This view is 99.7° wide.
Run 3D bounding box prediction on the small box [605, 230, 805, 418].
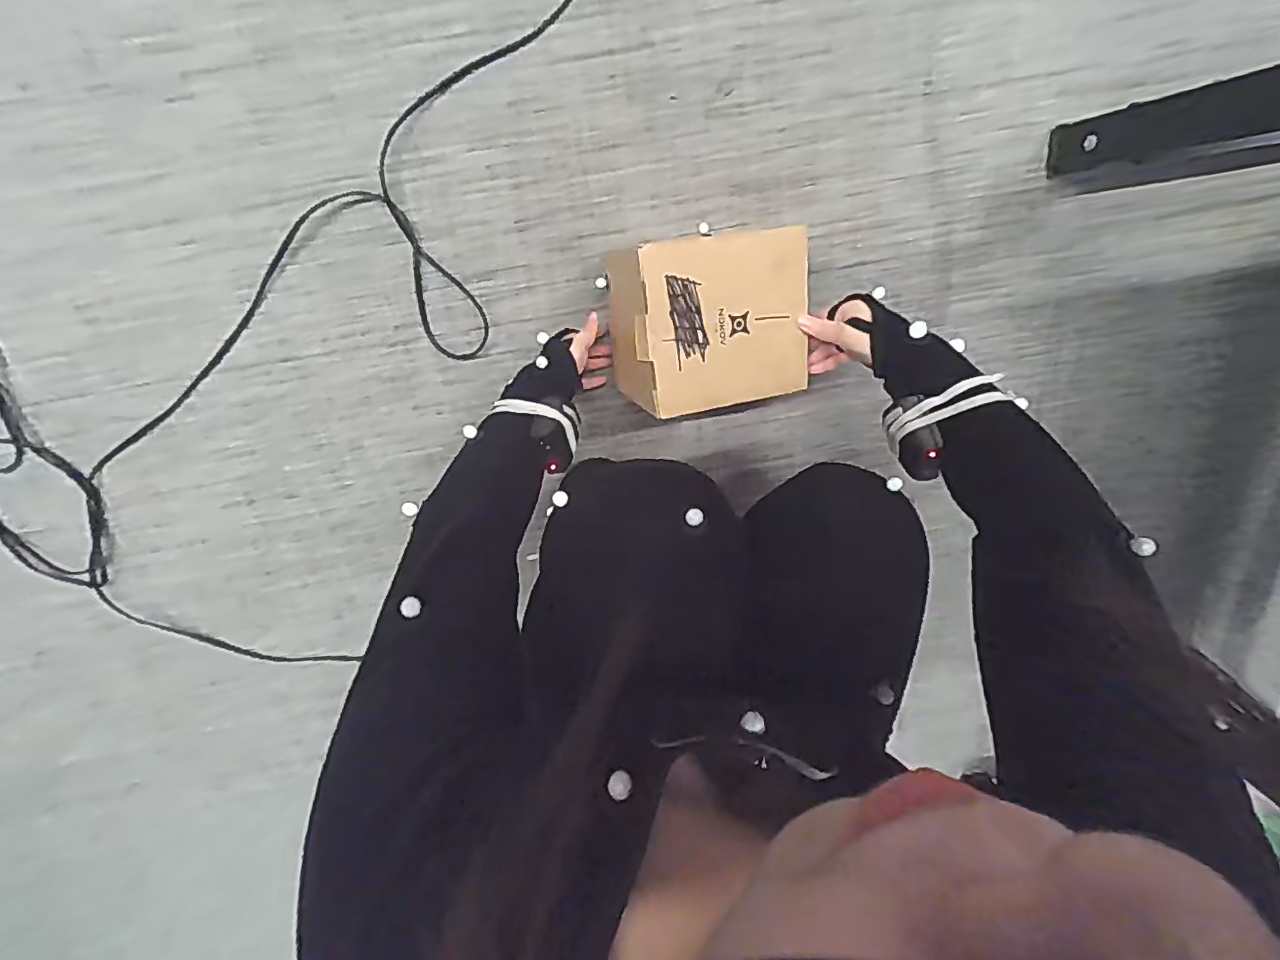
[{"bbox_3d":[0.065,-0.181,0.614,0.179,0.176,0.168,-14,114,-14],"label":"small box"}]
